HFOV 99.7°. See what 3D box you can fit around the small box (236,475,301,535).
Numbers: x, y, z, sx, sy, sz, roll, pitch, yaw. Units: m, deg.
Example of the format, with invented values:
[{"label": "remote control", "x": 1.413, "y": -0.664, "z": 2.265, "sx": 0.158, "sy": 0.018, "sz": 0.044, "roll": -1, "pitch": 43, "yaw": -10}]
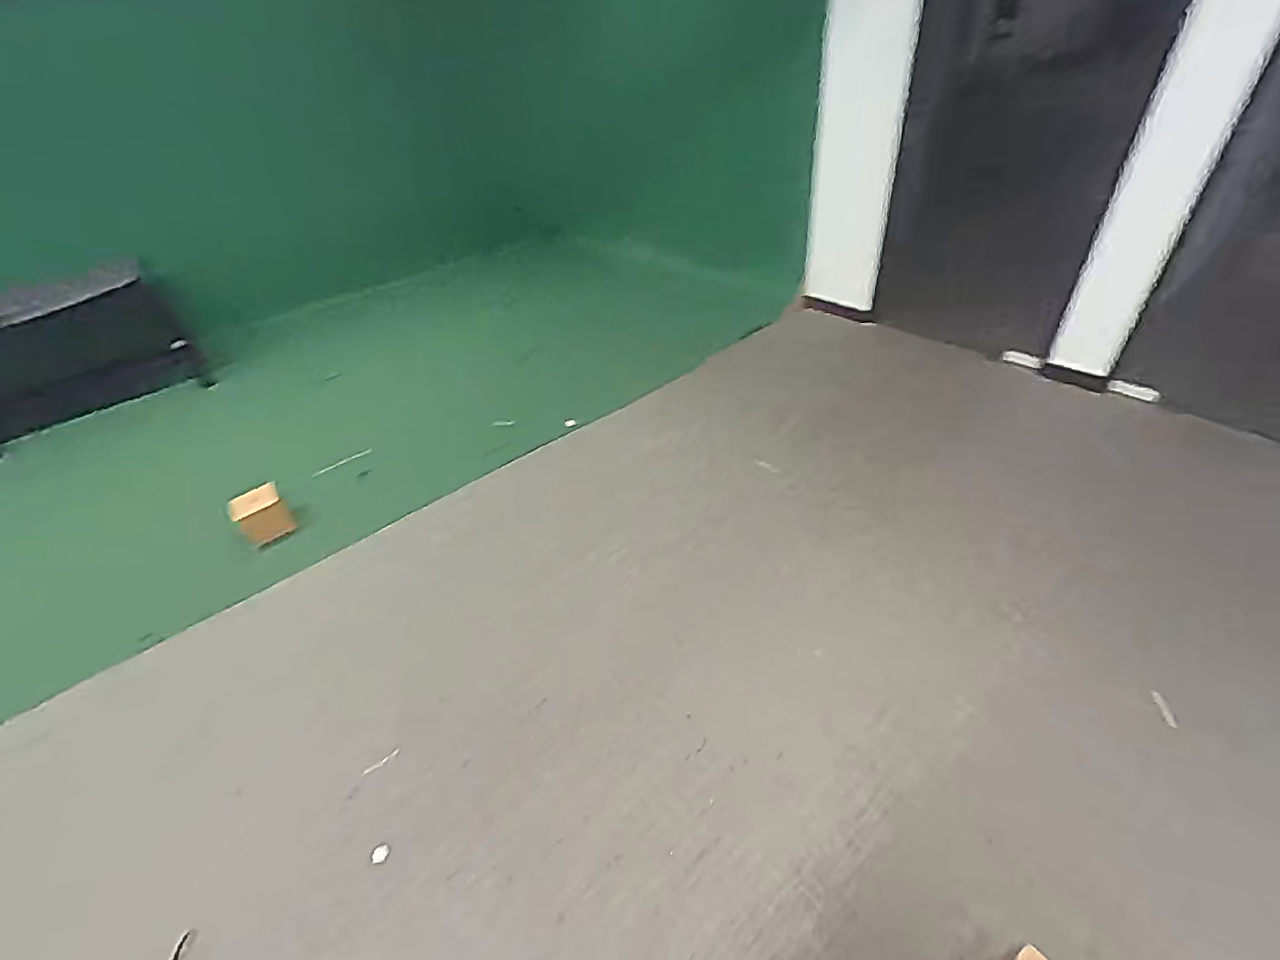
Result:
[{"label": "small box", "x": -1.621, "y": 0.115, "z": 2.363, "sx": 0.168, "sy": 0.176, "sz": 0.179, "roll": -32, "pitch": 45, "yaw": -24}]
